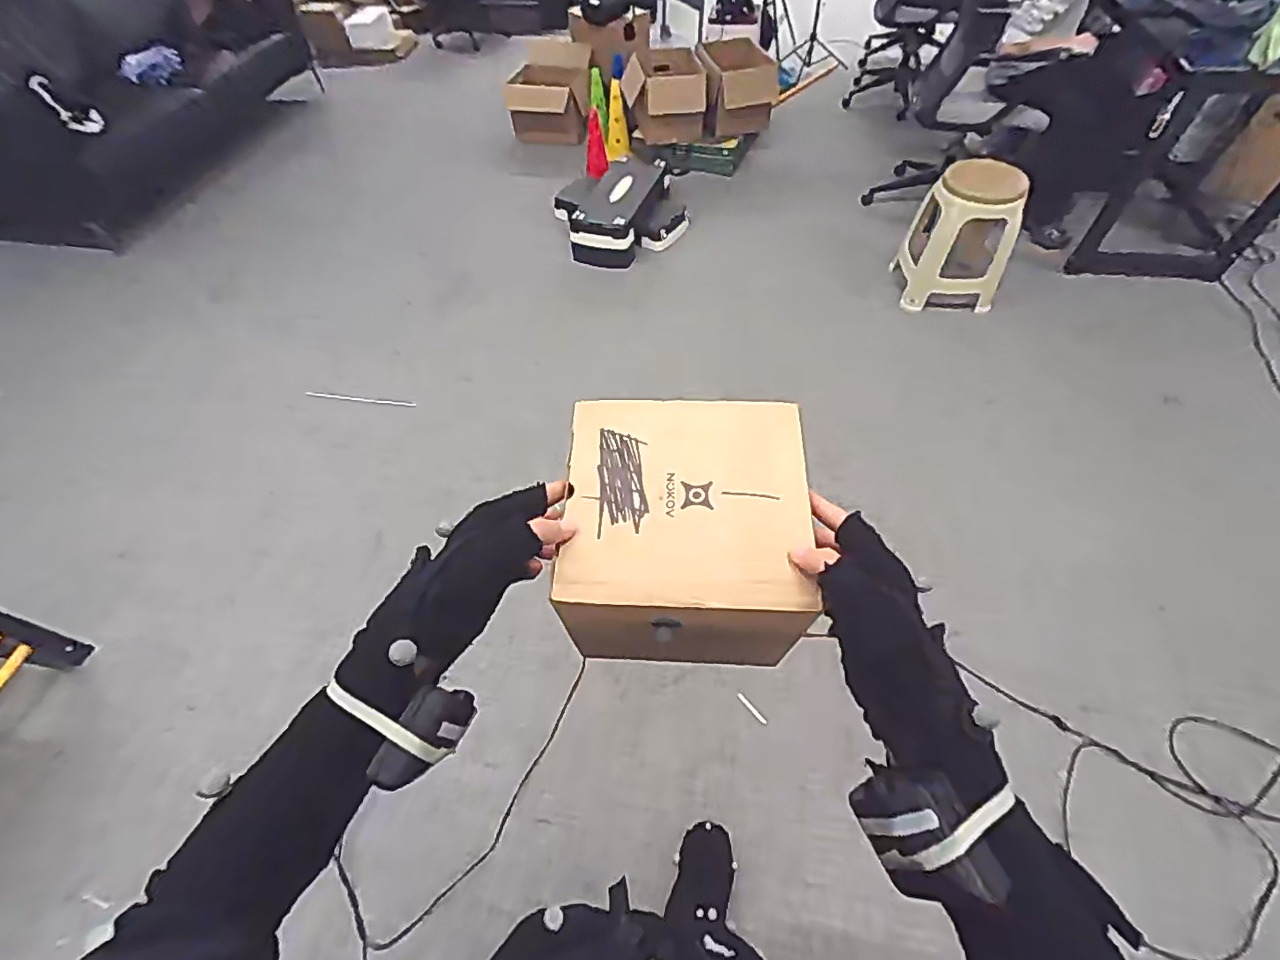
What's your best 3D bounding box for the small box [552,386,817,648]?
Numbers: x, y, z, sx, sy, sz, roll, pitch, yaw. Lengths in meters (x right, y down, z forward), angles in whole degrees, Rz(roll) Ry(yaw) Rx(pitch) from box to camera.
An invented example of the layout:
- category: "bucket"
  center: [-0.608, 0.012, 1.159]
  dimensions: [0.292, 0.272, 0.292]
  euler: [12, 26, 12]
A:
- category: "small box"
  center: [0.035, 0.039, 0.458]
  dimensions: [0.179, 0.176, 0.168]
  euler: [2, 61, 3]
